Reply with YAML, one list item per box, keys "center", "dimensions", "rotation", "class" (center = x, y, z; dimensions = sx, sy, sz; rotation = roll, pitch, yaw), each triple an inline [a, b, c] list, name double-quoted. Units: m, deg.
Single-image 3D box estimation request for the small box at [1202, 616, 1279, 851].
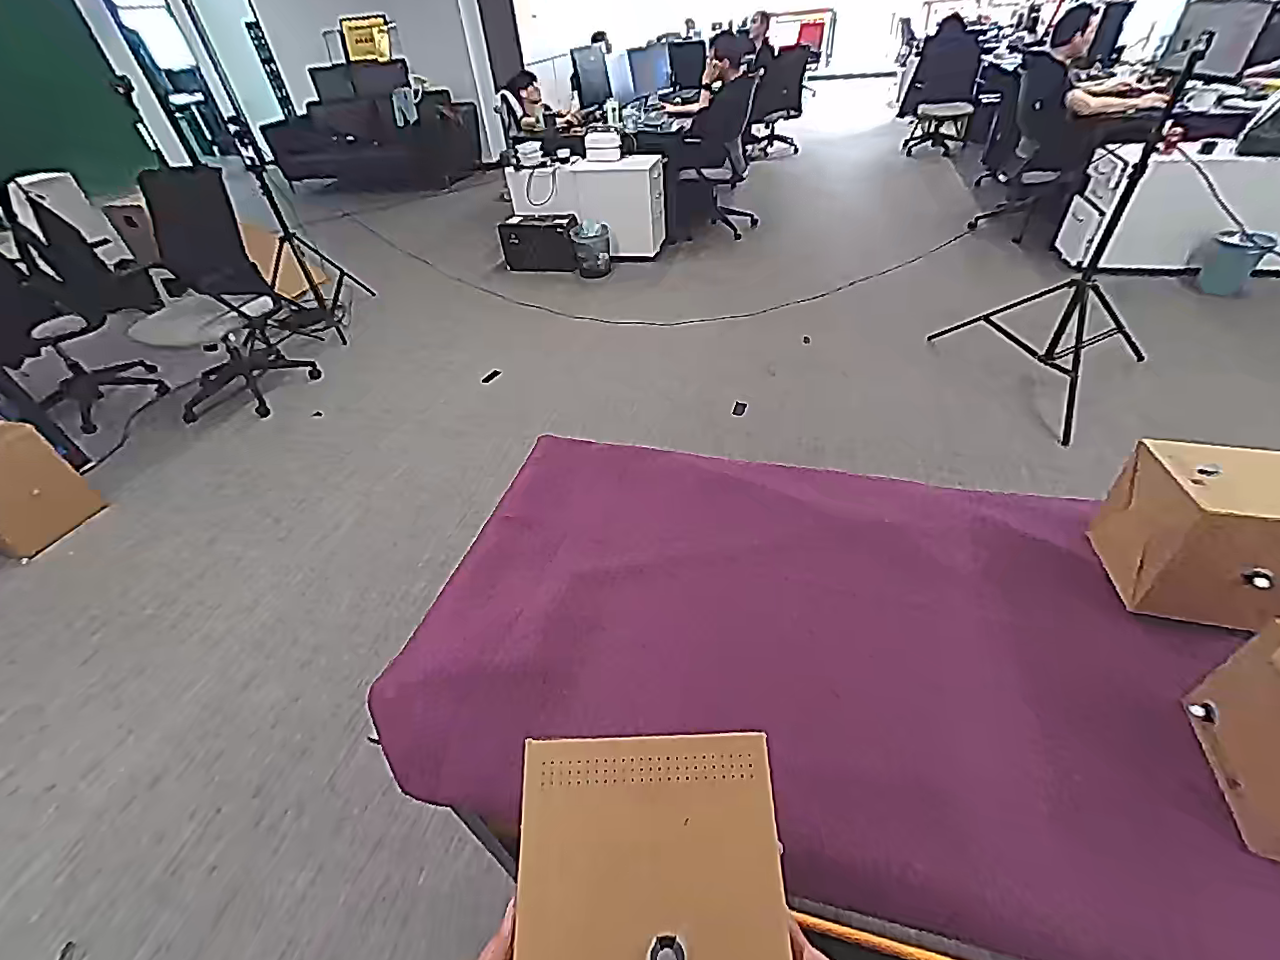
- center: [0.694, 0.258, 0.506]
  dimensions: [0.179, 0.176, 0.168]
  rotation: [9, 42, 16]
  class: "small box"
